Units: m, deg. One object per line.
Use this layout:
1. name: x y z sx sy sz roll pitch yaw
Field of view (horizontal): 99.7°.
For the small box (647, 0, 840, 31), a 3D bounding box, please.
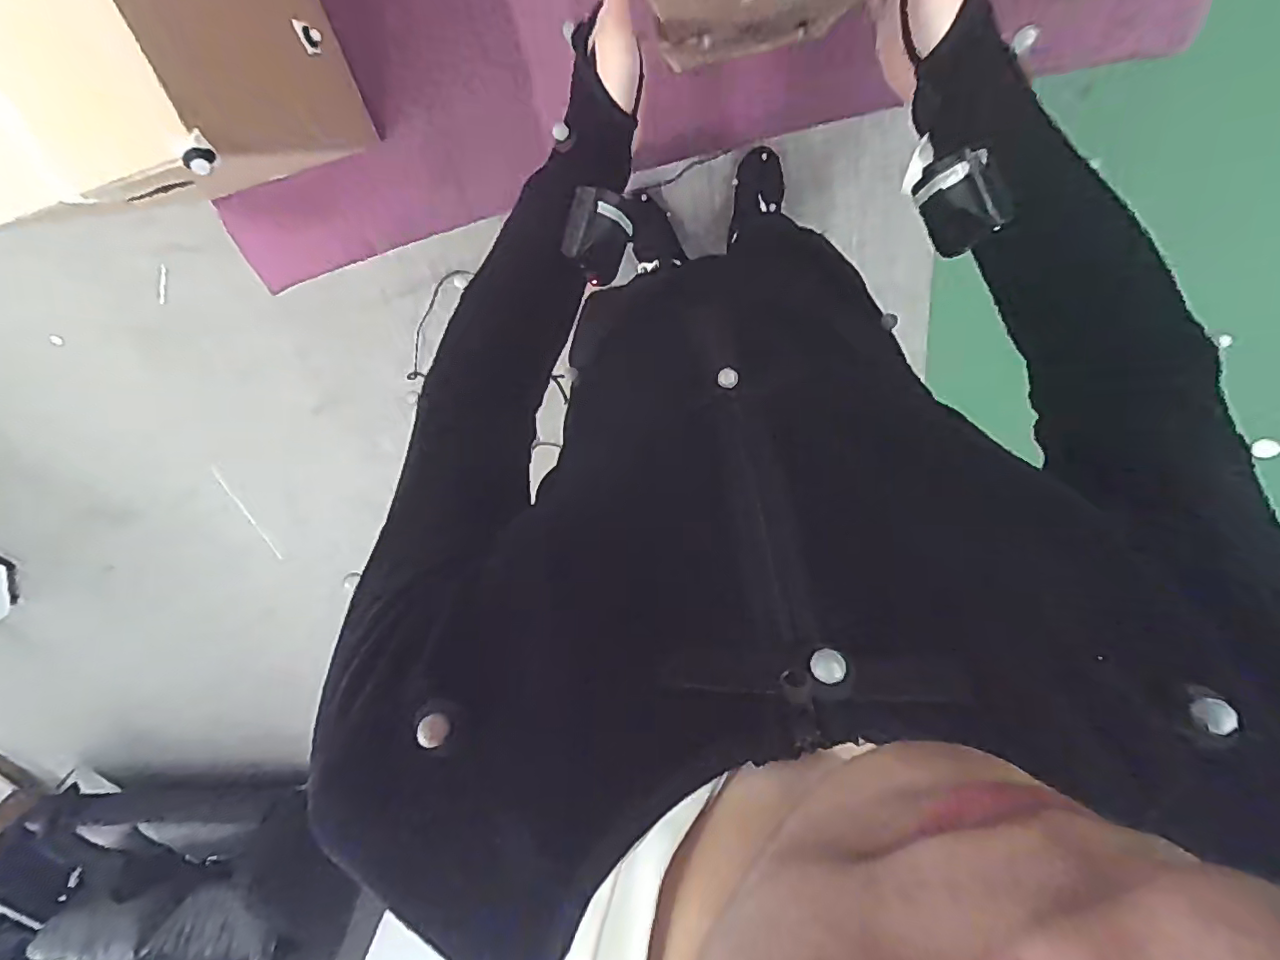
1. small box: 0.082 -0.437 0.371 0.168 0.176 0.179 -4 121 10
